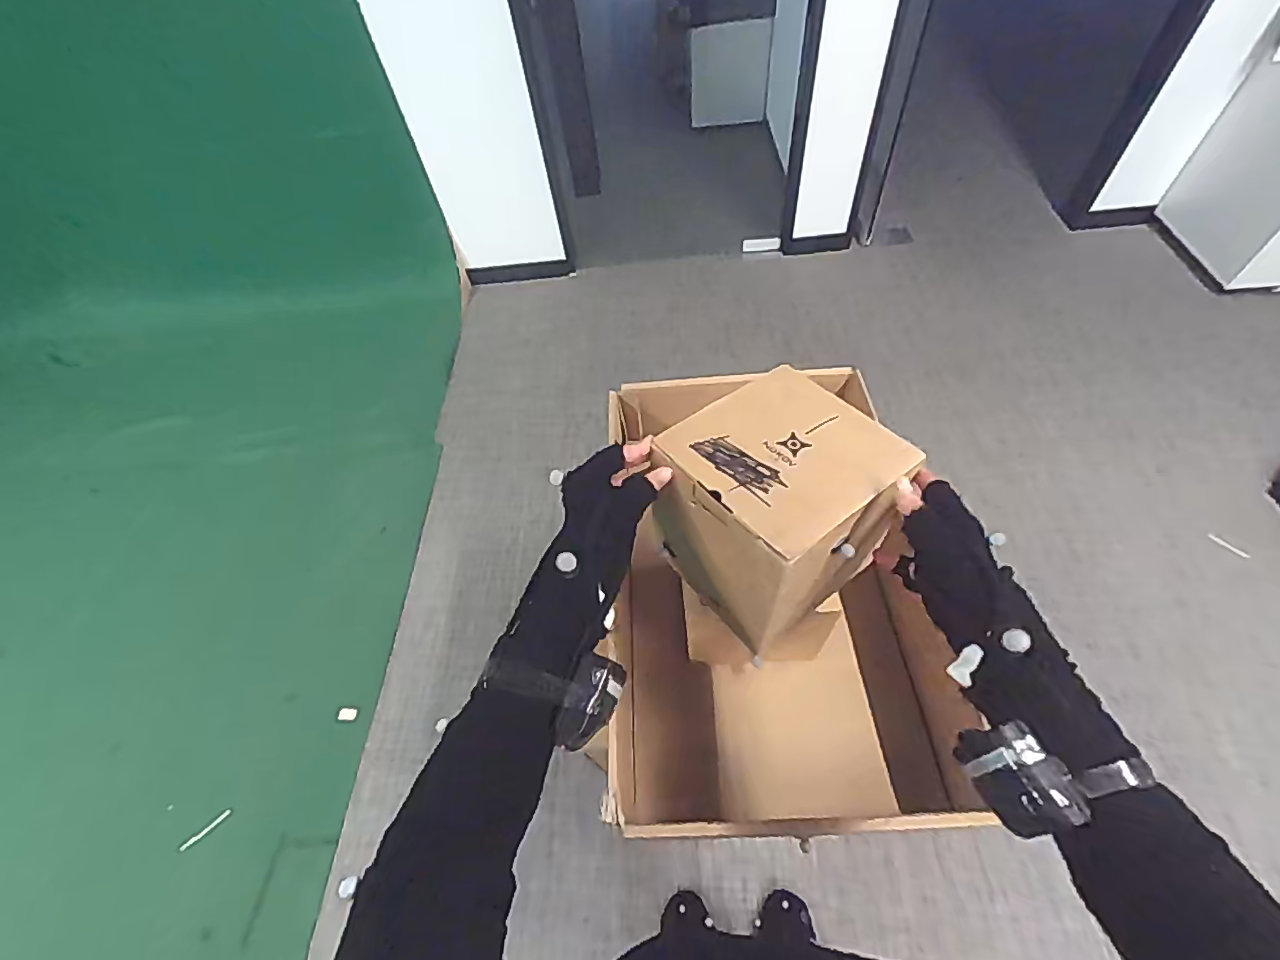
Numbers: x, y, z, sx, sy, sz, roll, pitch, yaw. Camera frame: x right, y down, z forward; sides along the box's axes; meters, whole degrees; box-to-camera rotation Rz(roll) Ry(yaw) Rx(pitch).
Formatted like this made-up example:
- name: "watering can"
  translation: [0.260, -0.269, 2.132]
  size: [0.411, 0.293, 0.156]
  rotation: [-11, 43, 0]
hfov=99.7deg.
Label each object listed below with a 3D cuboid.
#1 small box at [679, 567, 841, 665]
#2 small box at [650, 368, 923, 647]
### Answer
- name: "small box"
  translation: [0.144, 0.139, 0.722]
  size: [0.179, 0.176, 0.168]
  rotation: [-3, 53, 2]
- name: "small box"
  translation: [0.129, 0.028, 0.527]
  size: [0.179, 0.176, 0.168]
  rotation: [-31, 54, -23]
